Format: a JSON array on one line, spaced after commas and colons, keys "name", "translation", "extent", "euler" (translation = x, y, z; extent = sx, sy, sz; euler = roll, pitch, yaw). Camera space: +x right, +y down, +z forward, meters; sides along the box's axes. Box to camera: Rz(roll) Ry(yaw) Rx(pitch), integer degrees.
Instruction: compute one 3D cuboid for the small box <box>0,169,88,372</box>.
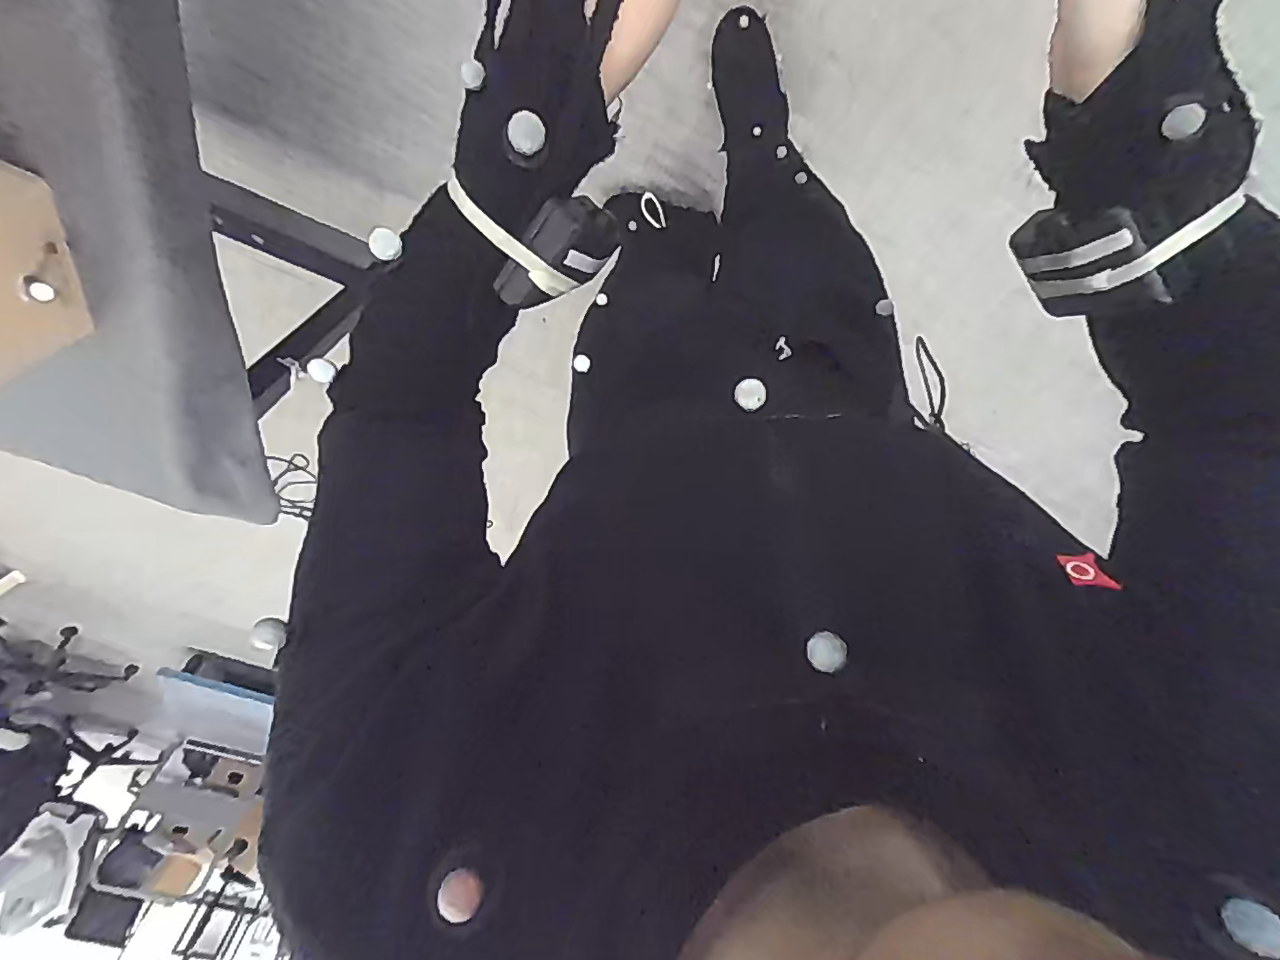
[{"name": "small box", "translation": [-0.649, -0.186, 0.458], "extent": [0.179, 0.176, 0.168], "euler": [20, 131, -12]}]
